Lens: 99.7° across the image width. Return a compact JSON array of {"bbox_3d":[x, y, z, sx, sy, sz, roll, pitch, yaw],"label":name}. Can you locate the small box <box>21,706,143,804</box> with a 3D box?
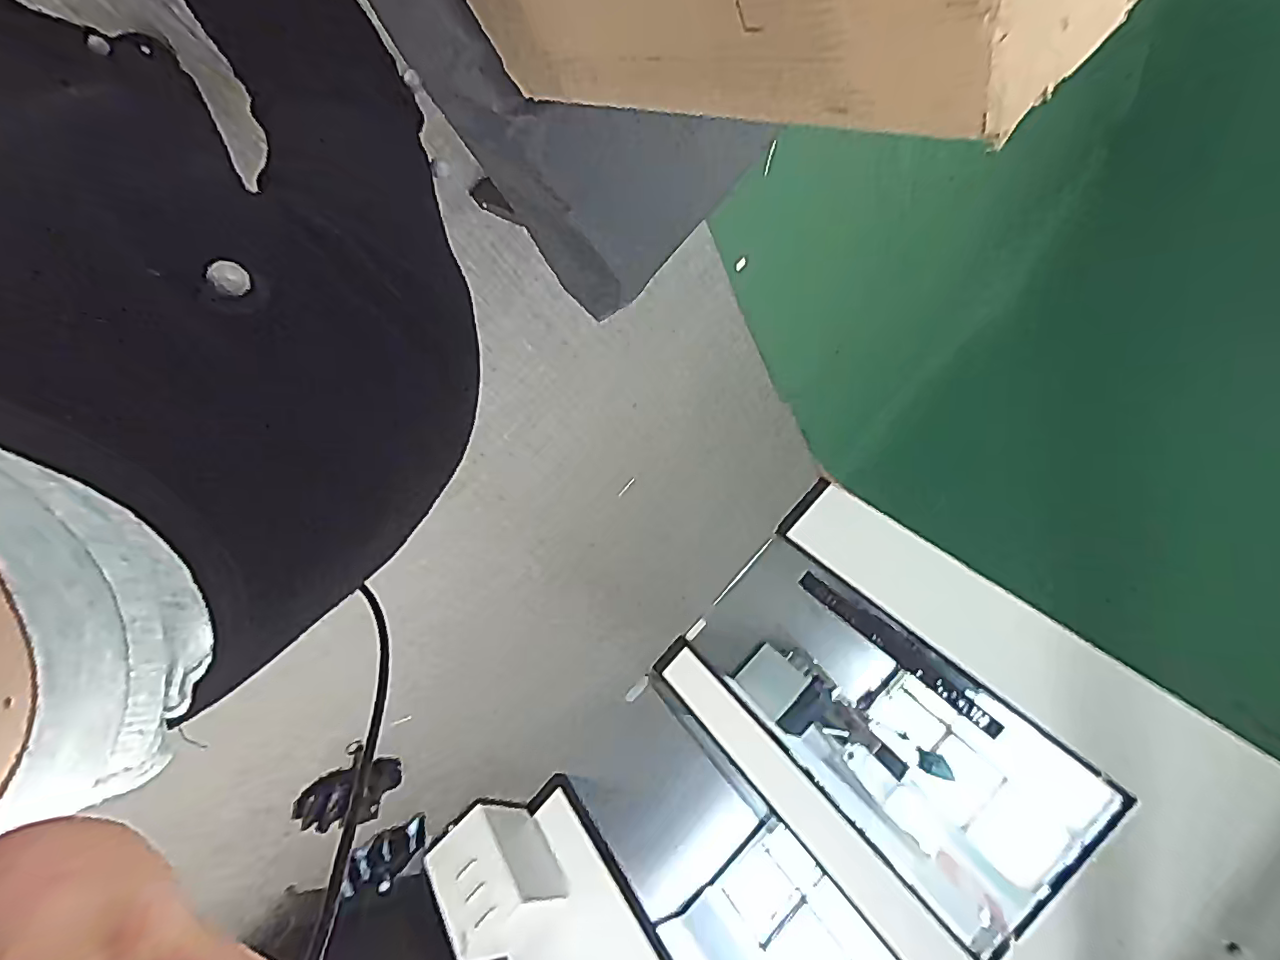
[{"bbox_3d":[-1.517,0.748,1.475,0.179,0.176,0.168,-47,141,-5],"label":"small box"}]
